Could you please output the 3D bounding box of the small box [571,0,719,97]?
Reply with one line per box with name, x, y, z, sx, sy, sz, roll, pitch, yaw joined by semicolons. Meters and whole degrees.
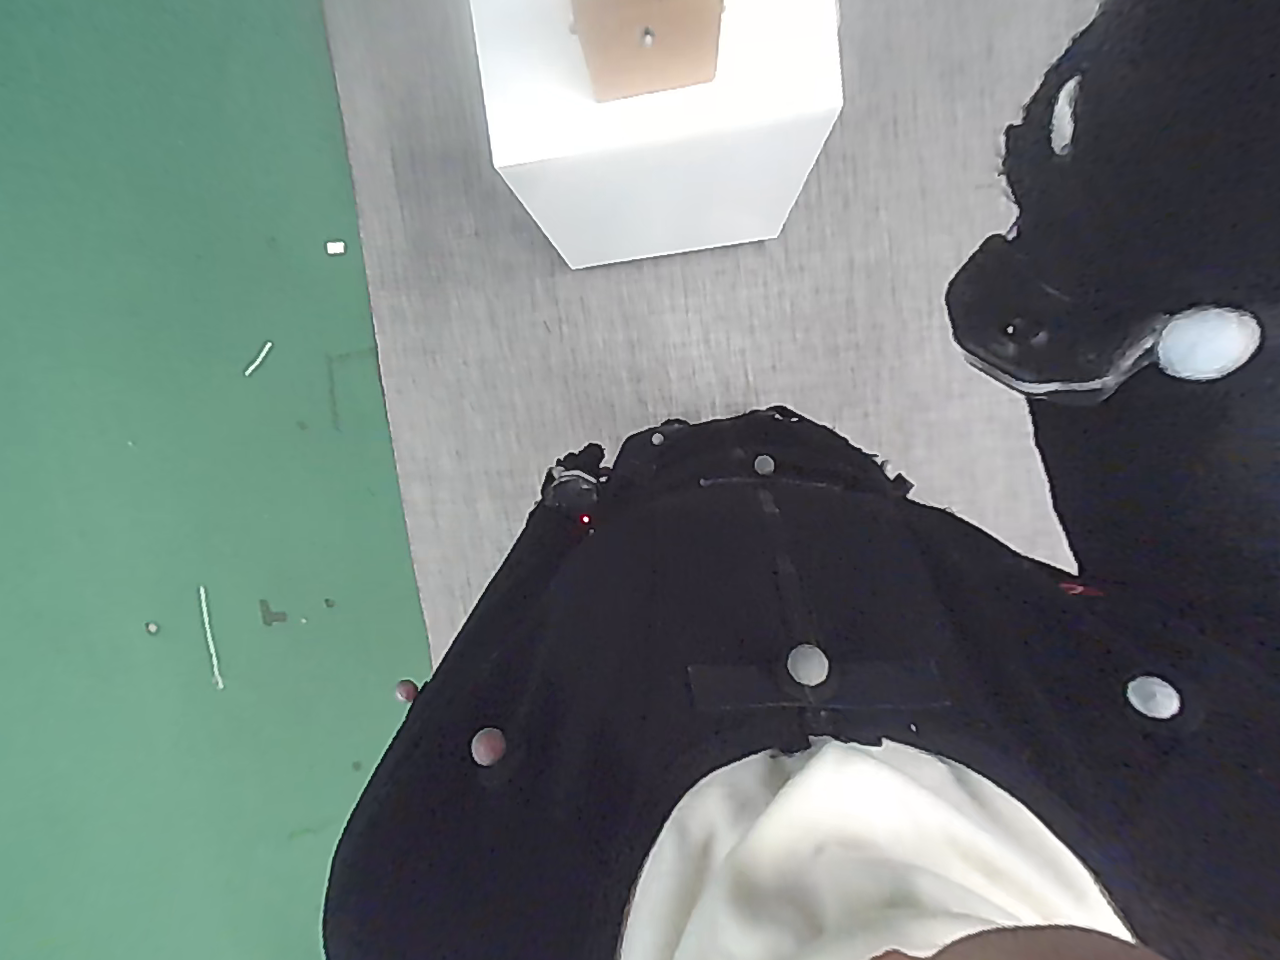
small box;0.006;-0.629;0.691;0.179;0.176;0.168;-7;96;4
